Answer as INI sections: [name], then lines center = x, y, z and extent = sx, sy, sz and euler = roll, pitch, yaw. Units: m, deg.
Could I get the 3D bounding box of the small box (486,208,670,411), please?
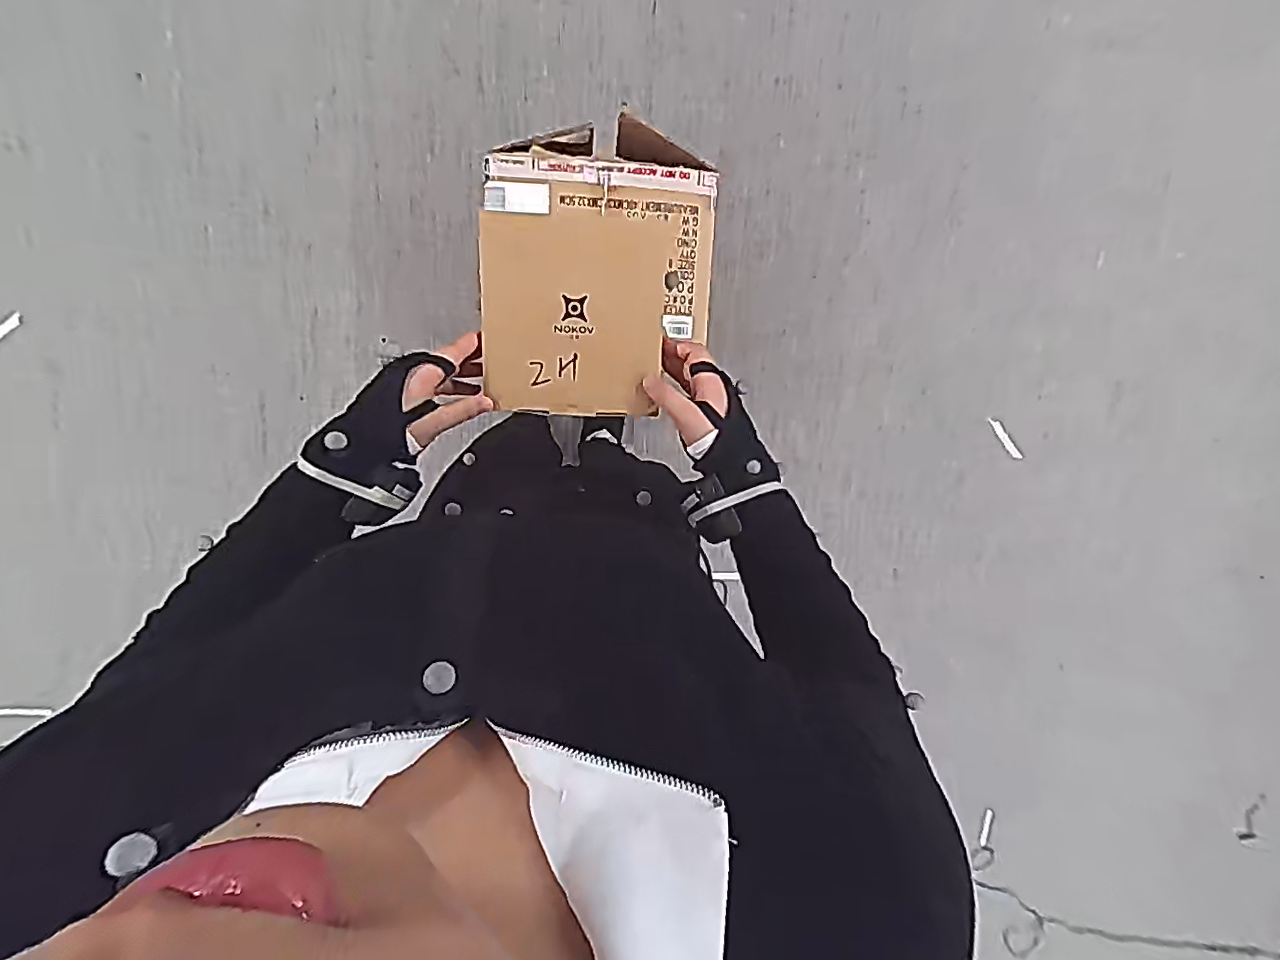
[small box]
center = -0.063, -0.170, 0.575
extent = 0.168, 0.176, 0.179
euler = 1, 103, -3
